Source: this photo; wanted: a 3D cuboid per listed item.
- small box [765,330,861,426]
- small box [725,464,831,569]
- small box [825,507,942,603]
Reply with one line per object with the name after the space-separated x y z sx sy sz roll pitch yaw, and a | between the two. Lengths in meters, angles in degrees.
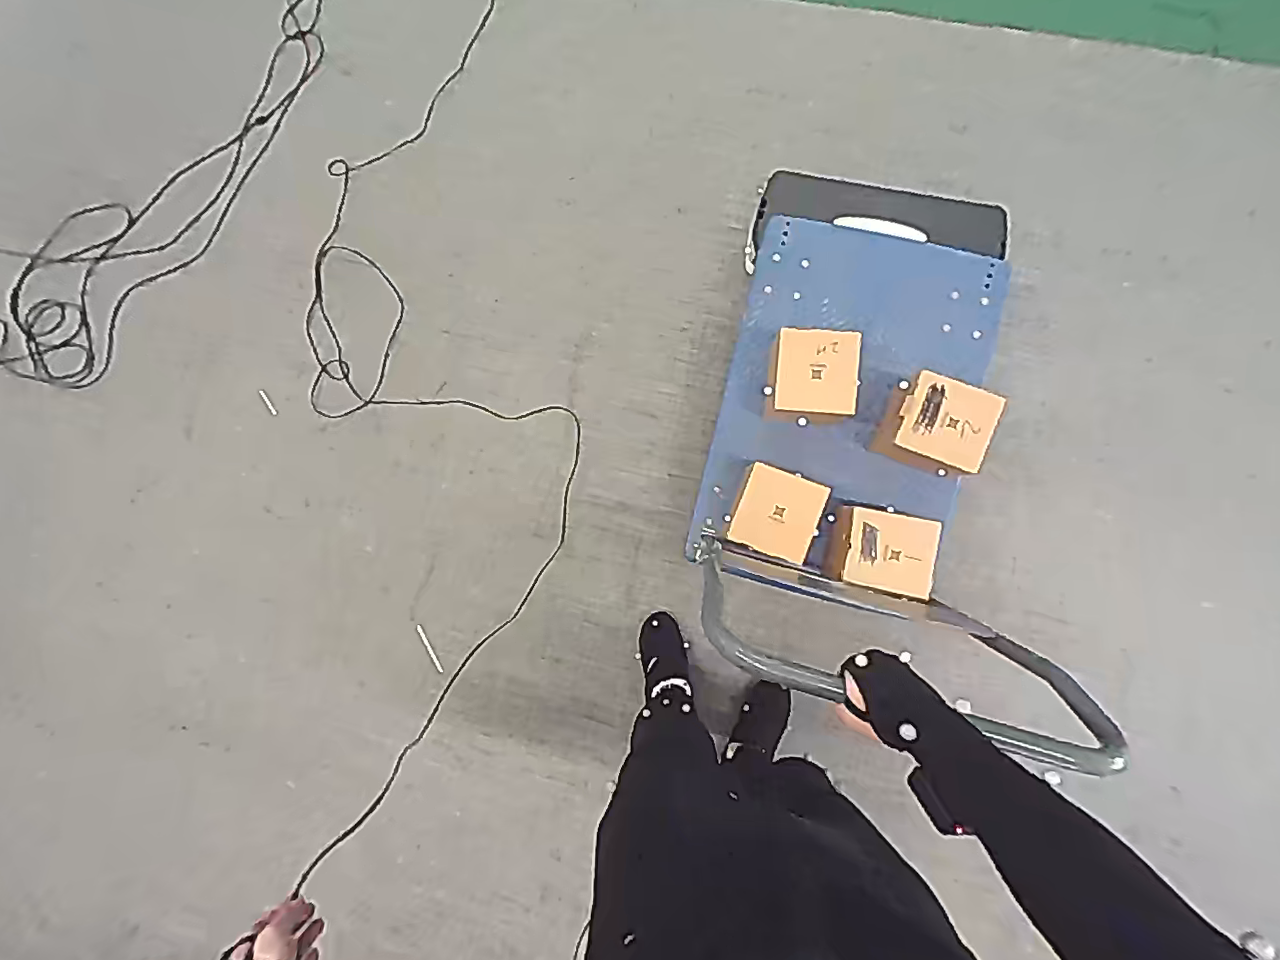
0.375 -0.218 1.199 0.168 0.176 0.179 6 88 5 | small box
0.294 0.075 1.198 0.168 0.176 0.179 21 91 5 | small box
0.516 0.156 1.172 0.179 0.176 0.168 11 90 6 | small box
